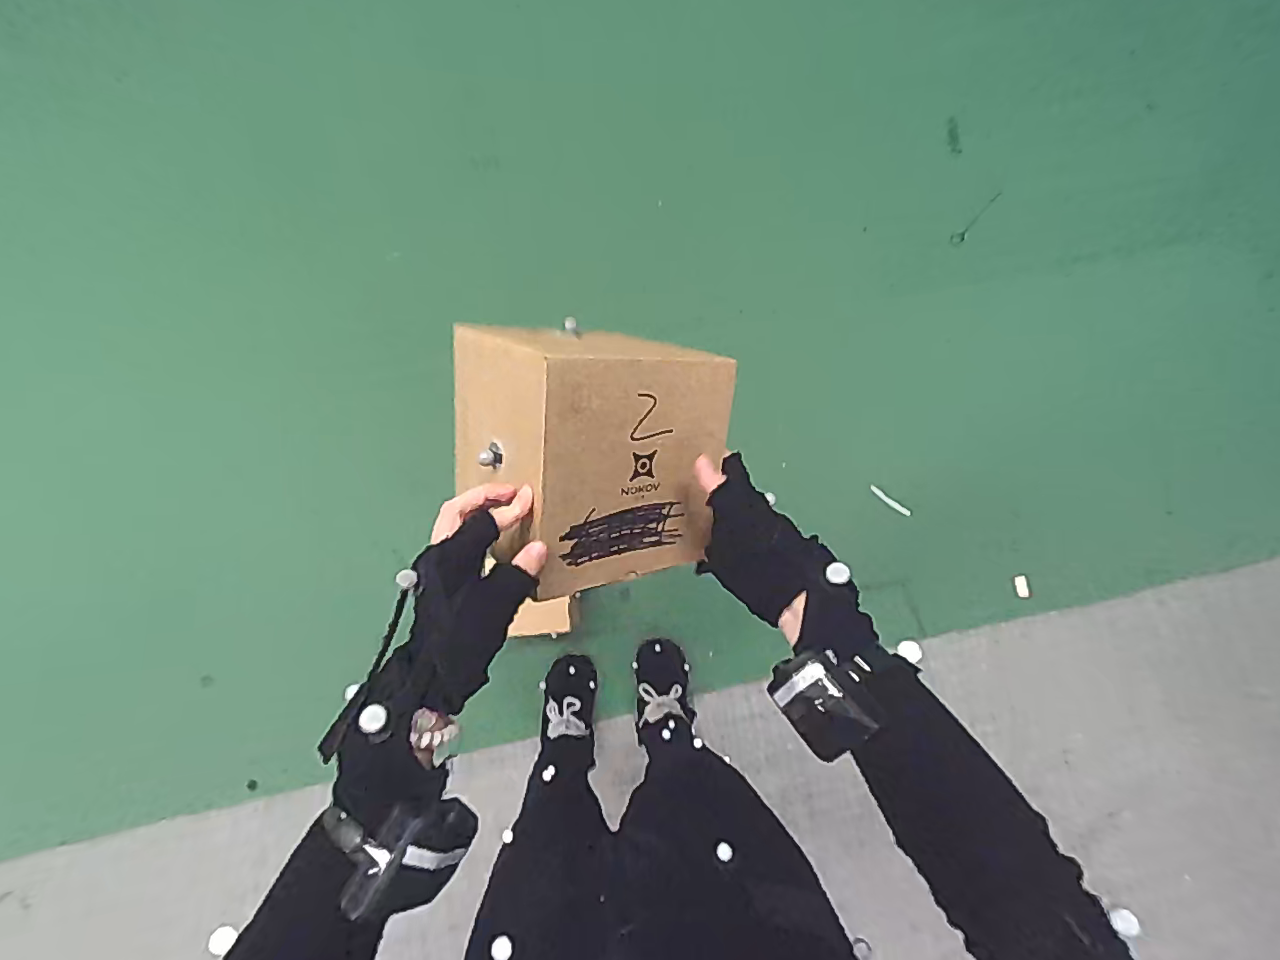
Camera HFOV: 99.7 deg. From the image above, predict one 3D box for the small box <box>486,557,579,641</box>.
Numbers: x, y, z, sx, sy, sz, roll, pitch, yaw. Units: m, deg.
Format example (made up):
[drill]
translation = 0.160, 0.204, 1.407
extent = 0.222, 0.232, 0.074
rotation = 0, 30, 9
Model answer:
[small box]
translation = -0.237, 0.265, 1.220
extent = 0.179, 0.176, 0.168
rotation = -5, 81, -2
